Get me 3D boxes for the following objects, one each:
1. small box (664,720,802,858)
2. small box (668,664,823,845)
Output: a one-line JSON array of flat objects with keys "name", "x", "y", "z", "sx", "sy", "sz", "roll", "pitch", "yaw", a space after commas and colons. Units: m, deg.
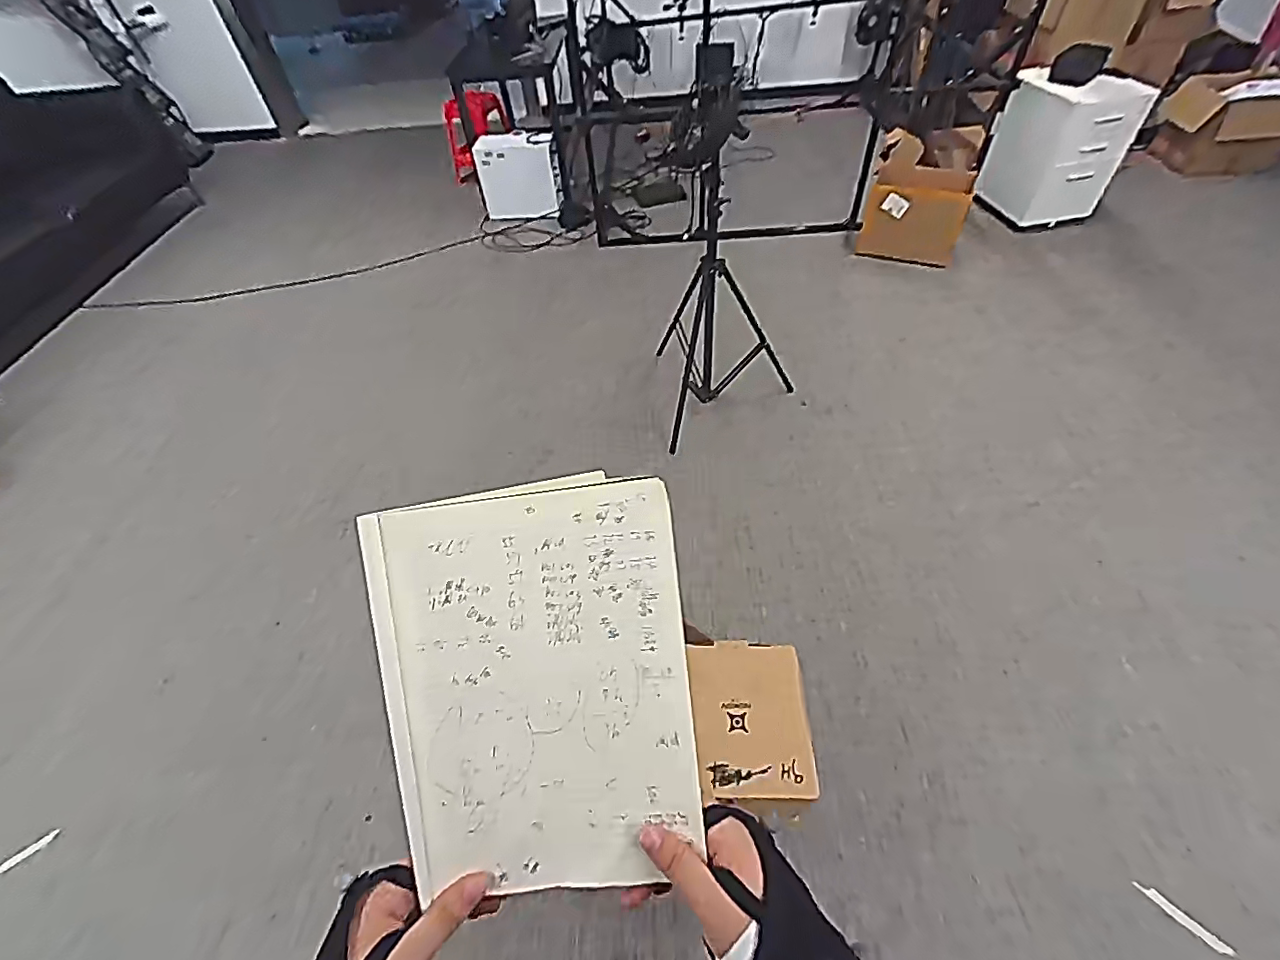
[{"name": "small box", "x": 0.128, "y": 0.468, "z": 0.824, "sx": 0.179, "sy": 0.176, "sz": 0.168, "roll": -3, "pitch": 51, "yaw": 1}, {"name": "small box", "x": 0.121, "y": 0.357, "z": 0.703, "sx": 0.168, "sy": 0.176, "sz": 0.179, "roll": 0, "pitch": 50, "yaw": 2}]
